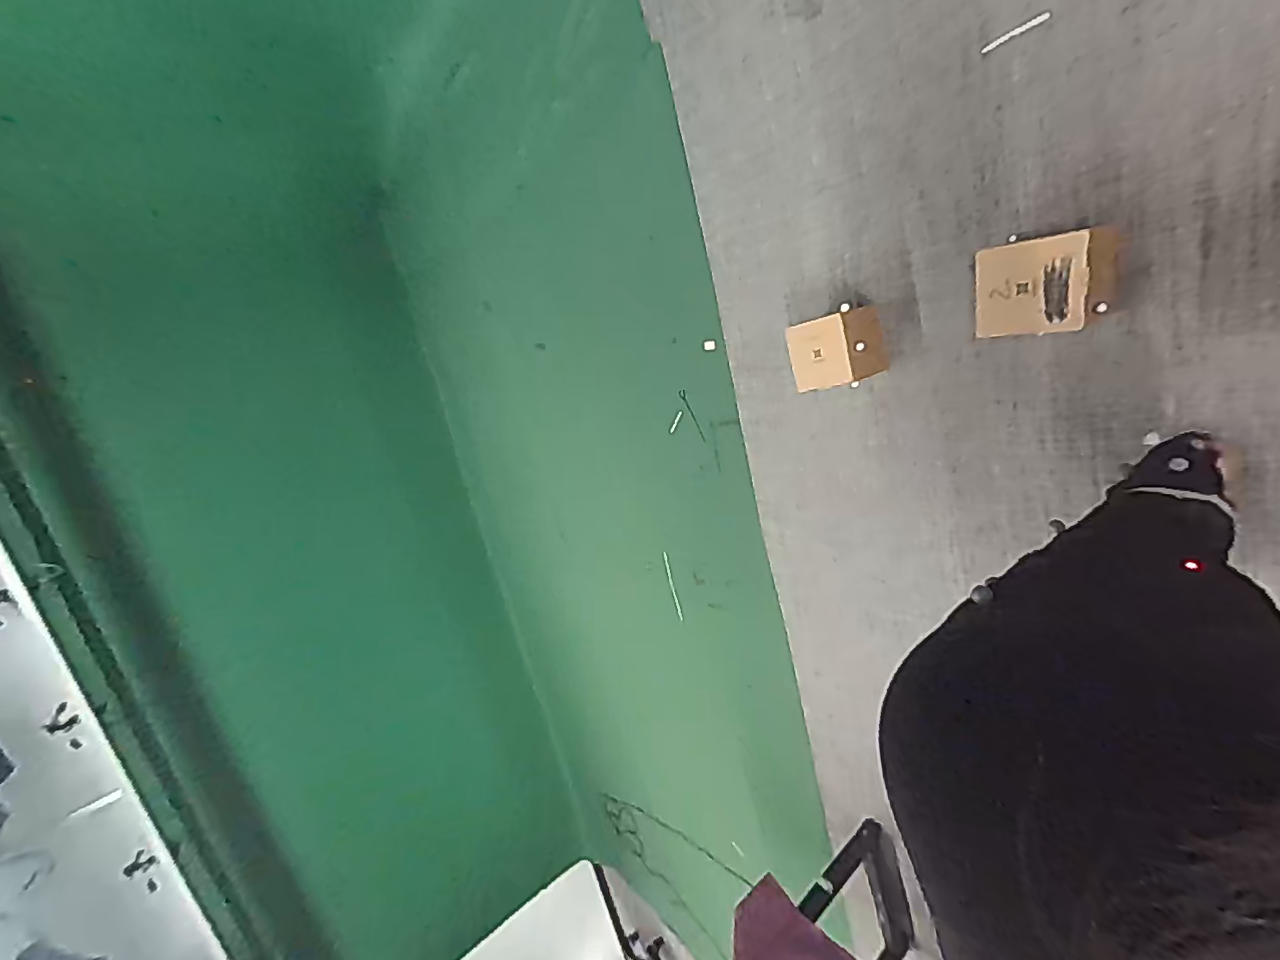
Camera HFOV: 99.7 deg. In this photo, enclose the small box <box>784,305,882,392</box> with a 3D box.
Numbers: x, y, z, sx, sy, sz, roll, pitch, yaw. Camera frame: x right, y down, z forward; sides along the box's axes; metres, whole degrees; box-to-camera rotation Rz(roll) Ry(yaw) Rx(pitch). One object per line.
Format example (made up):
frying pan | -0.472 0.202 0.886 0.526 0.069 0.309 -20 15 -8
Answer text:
small box | 0.507 -0.343 1.411 0.168 0.176 0.179 0 109 54
